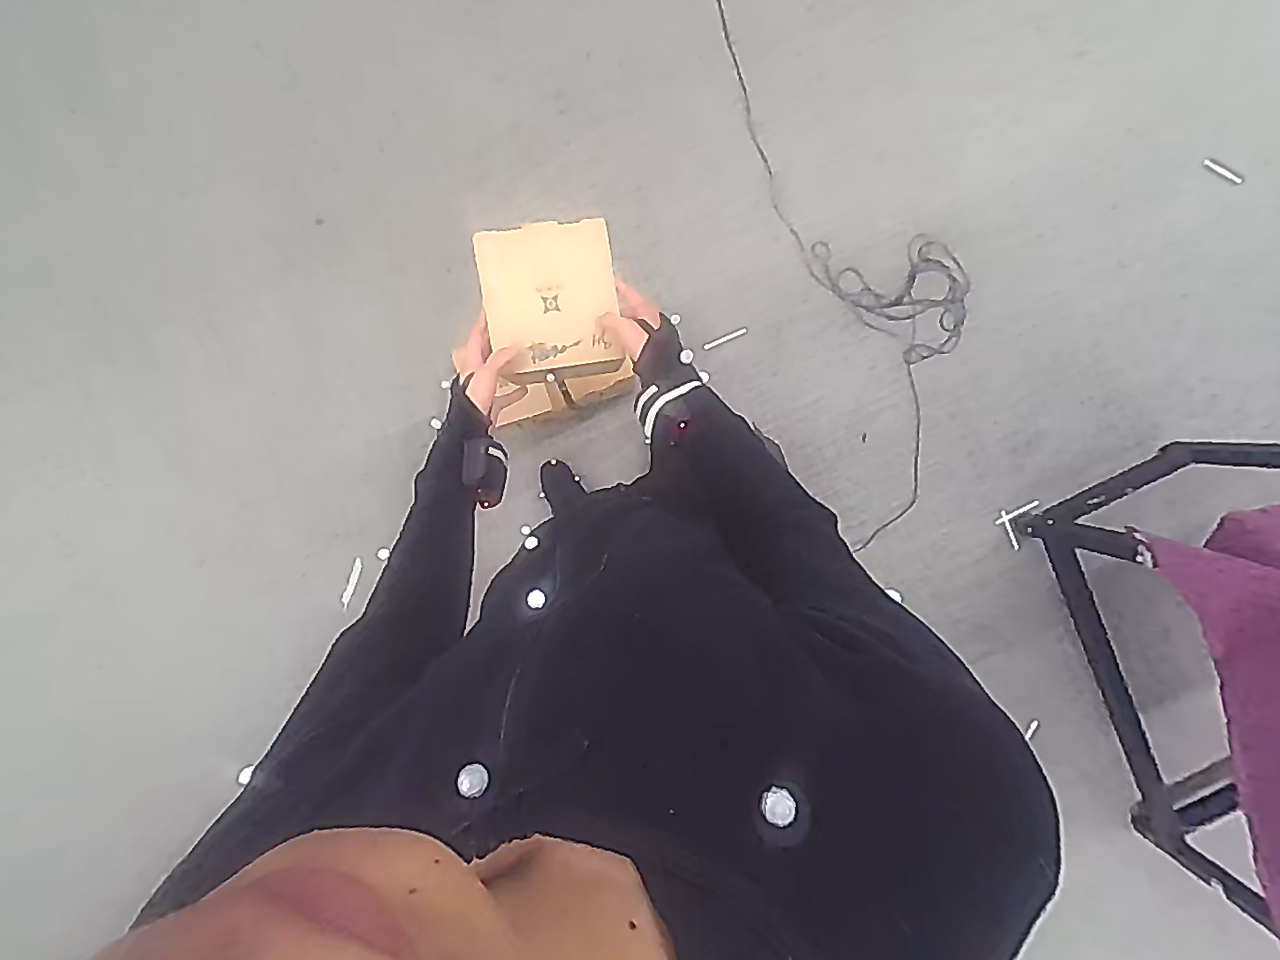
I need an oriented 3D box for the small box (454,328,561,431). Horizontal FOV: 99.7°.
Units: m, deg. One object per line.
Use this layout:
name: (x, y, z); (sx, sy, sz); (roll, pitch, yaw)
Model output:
small box: (-0.279, -0.210, 1.178); (0.168, 0.176, 0.179); (-17, 96, 0)
